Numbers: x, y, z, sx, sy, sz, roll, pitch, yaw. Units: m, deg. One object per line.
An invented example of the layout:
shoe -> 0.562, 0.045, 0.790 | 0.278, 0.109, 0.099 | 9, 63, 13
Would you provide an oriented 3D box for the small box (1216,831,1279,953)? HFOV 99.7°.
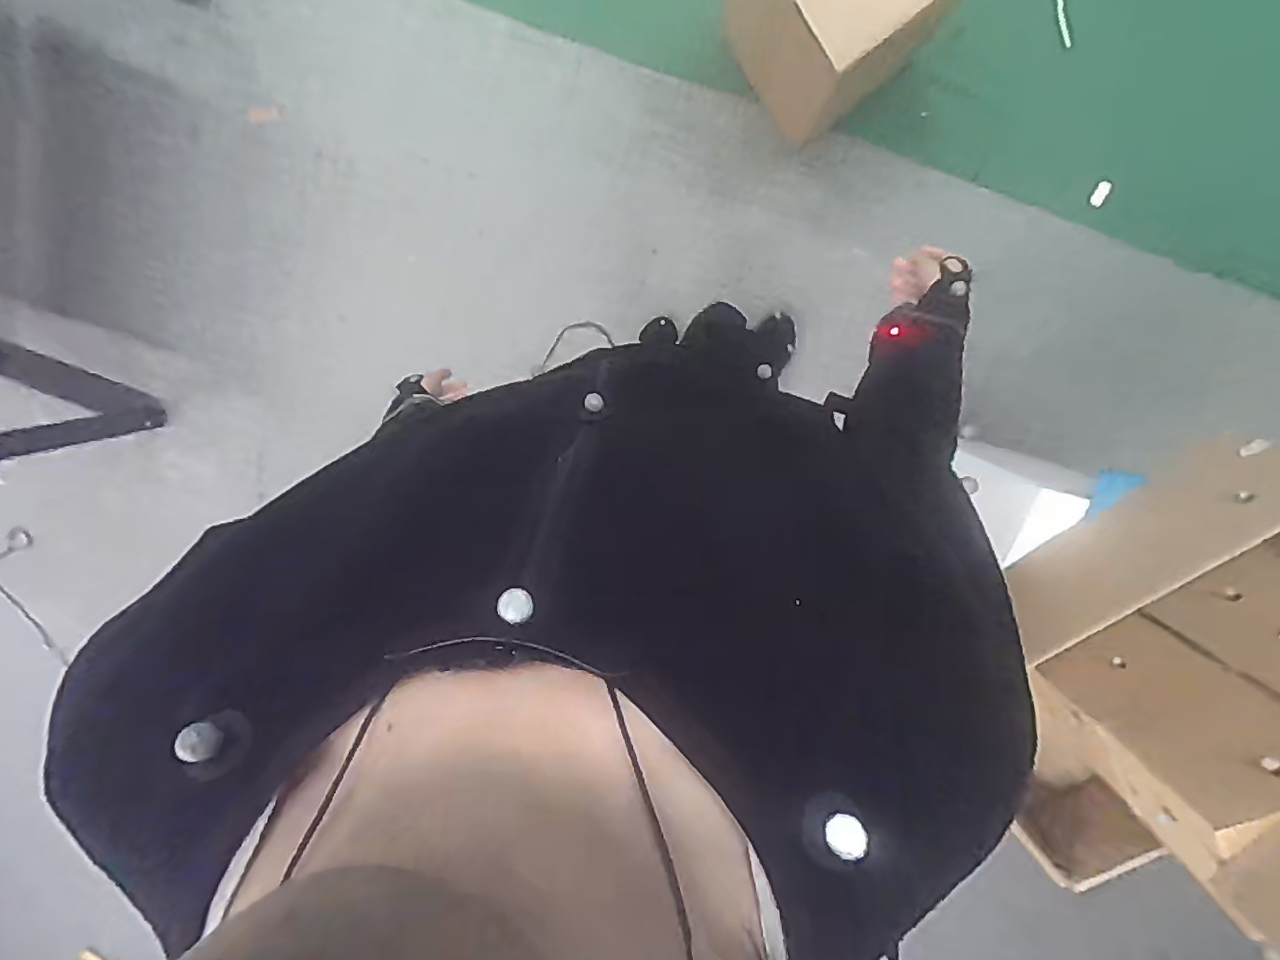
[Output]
small box -> 0.701, 0.416, 0.477 | 0.168, 0.176, 0.179 | 35, 103, -5
